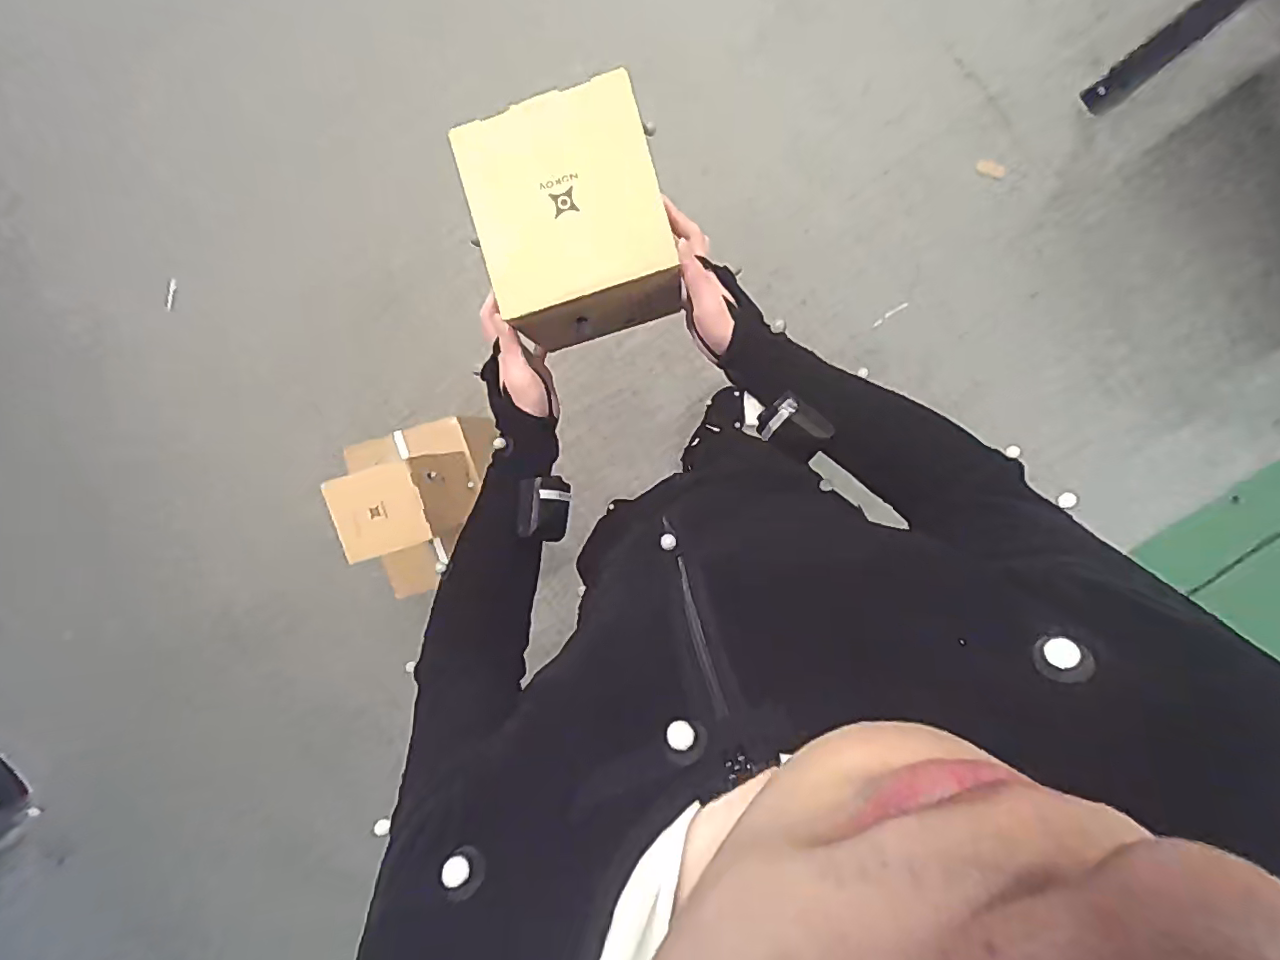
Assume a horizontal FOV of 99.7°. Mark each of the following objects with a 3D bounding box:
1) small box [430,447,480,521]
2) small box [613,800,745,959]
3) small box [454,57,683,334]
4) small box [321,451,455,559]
[{"bbox_3d":[-0.501,0.024,1.266,0.179,0.176,0.168,-15,96,2],"label":"small box"},{"bbox_3d":[0.069,0.737,0.999,0.179,0.176,0.168,26,97,0],"label":"small box"},{"bbox_3d":[-0.055,-0.258,0.544,0.168,0.176,0.179,-15,92,6],"label":"small box"},{"bbox_3d":[-0.497,0.042,1.104,0.179,0.176,0.168,-17,95,3],"label":"small box"}]
